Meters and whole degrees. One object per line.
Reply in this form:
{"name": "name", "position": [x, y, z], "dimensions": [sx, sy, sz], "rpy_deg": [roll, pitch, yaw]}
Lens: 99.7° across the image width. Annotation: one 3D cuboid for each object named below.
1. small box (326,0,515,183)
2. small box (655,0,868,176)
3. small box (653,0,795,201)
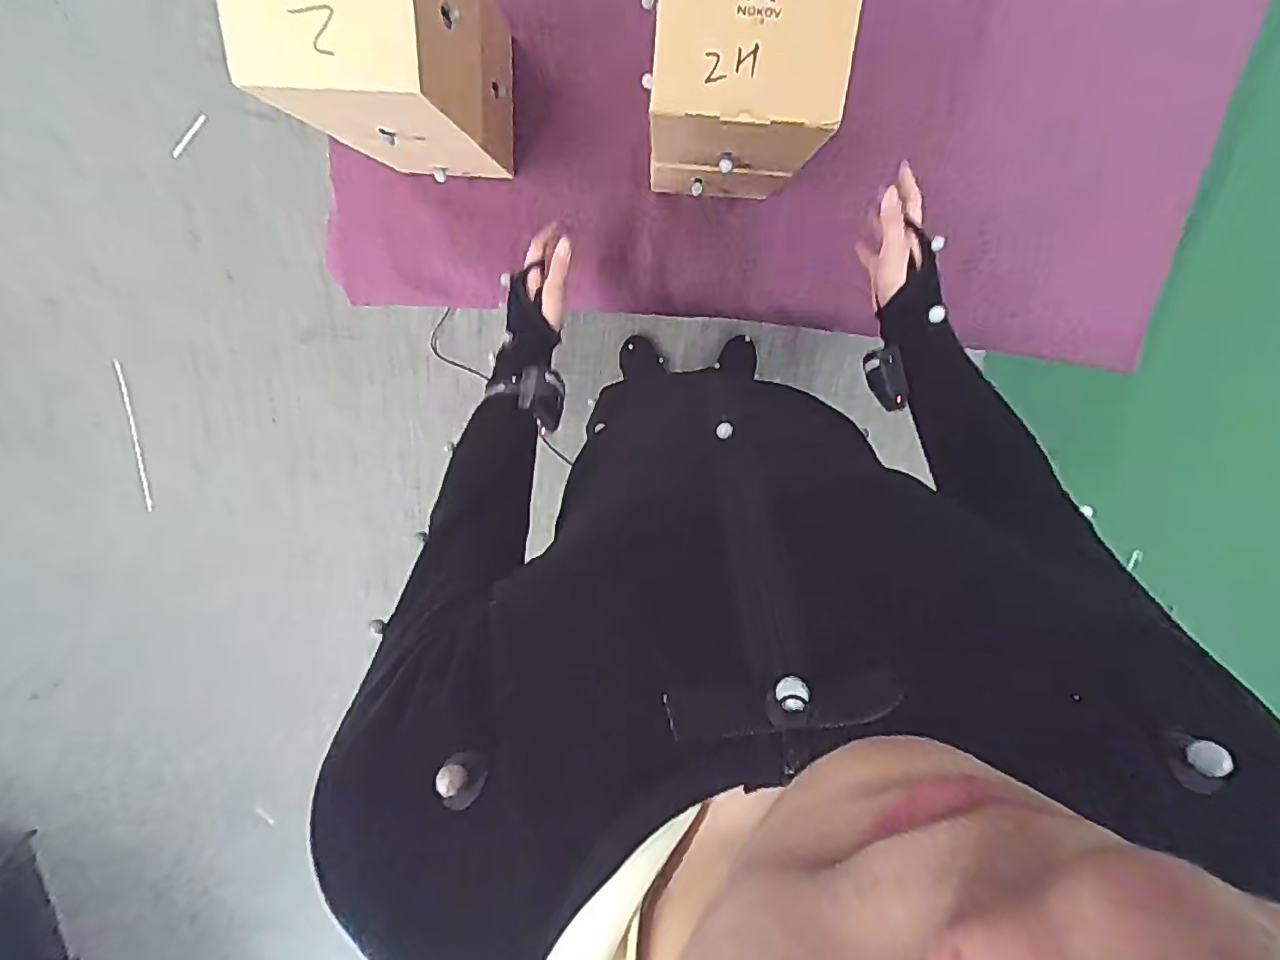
{"name": "small box", "position": [-0.254, -0.486, 0.665], "dimensions": [0.168, 0.176, 0.179], "rpy_deg": [3, 108, 0]}
{"name": "small box", "position": [0.104, -0.413, 0.513], "dimensions": [0.168, 0.176, 0.179], "rpy_deg": [5, 107, 0]}
{"name": "small box", "position": [0.106, -0.458, 0.672], "dimensions": [0.168, 0.176, 0.179], "rpy_deg": [4, 107, 0]}
